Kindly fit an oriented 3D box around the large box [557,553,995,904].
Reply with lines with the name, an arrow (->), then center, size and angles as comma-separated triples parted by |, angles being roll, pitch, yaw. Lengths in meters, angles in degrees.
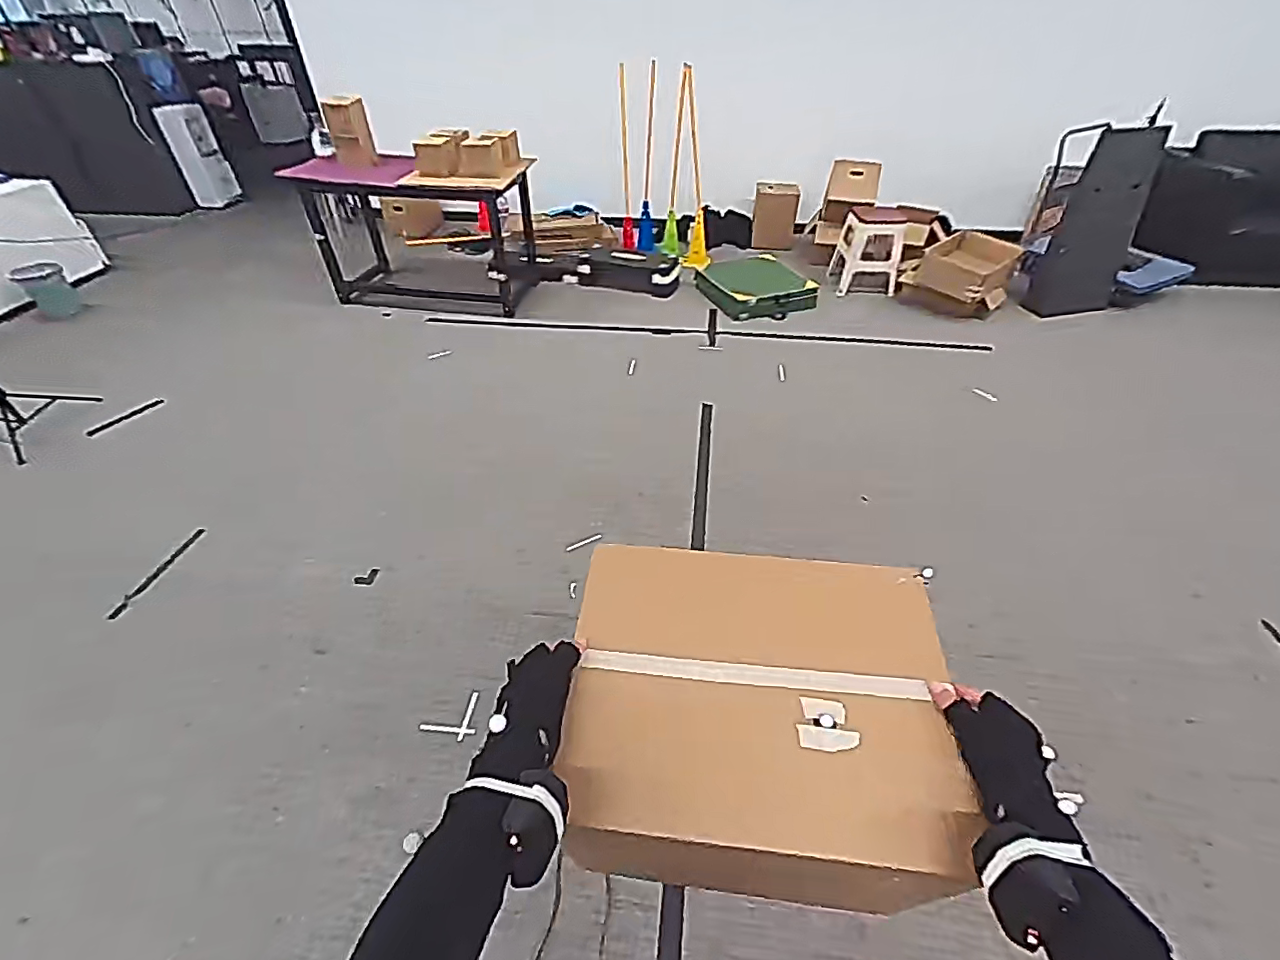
large box -> 0.134, 0.318, 0.698 | 0.408, 0.320, 0.320 | 4, 48, 6
